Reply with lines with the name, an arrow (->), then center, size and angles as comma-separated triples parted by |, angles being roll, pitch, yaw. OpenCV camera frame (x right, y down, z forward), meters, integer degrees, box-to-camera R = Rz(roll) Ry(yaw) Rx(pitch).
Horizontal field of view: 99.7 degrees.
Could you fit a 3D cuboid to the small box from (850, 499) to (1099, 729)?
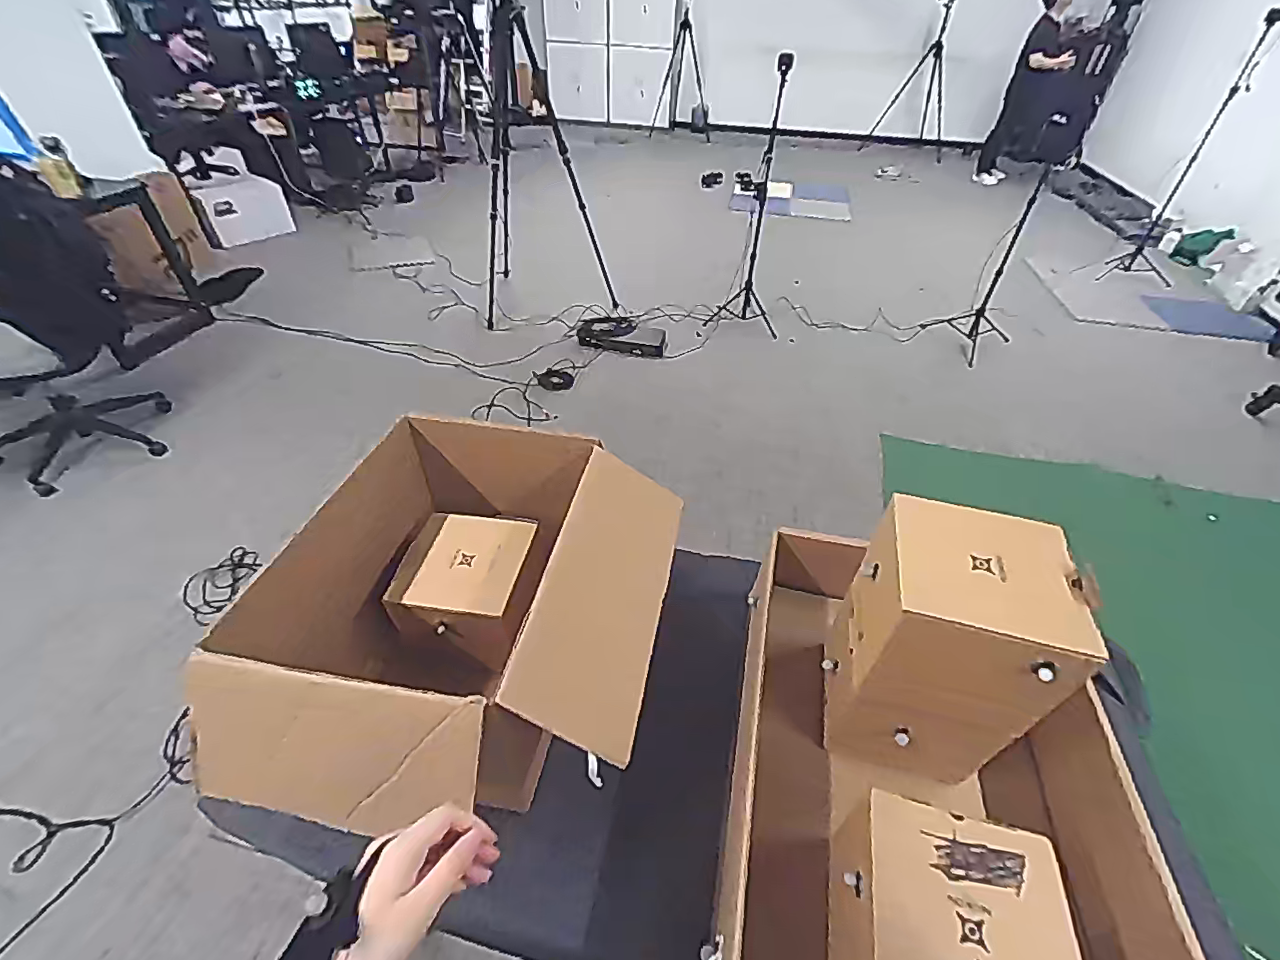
small box -> 0.344, 0.149, 0.602 | 0.179, 0.176, 0.168 | 12, 45, 11
